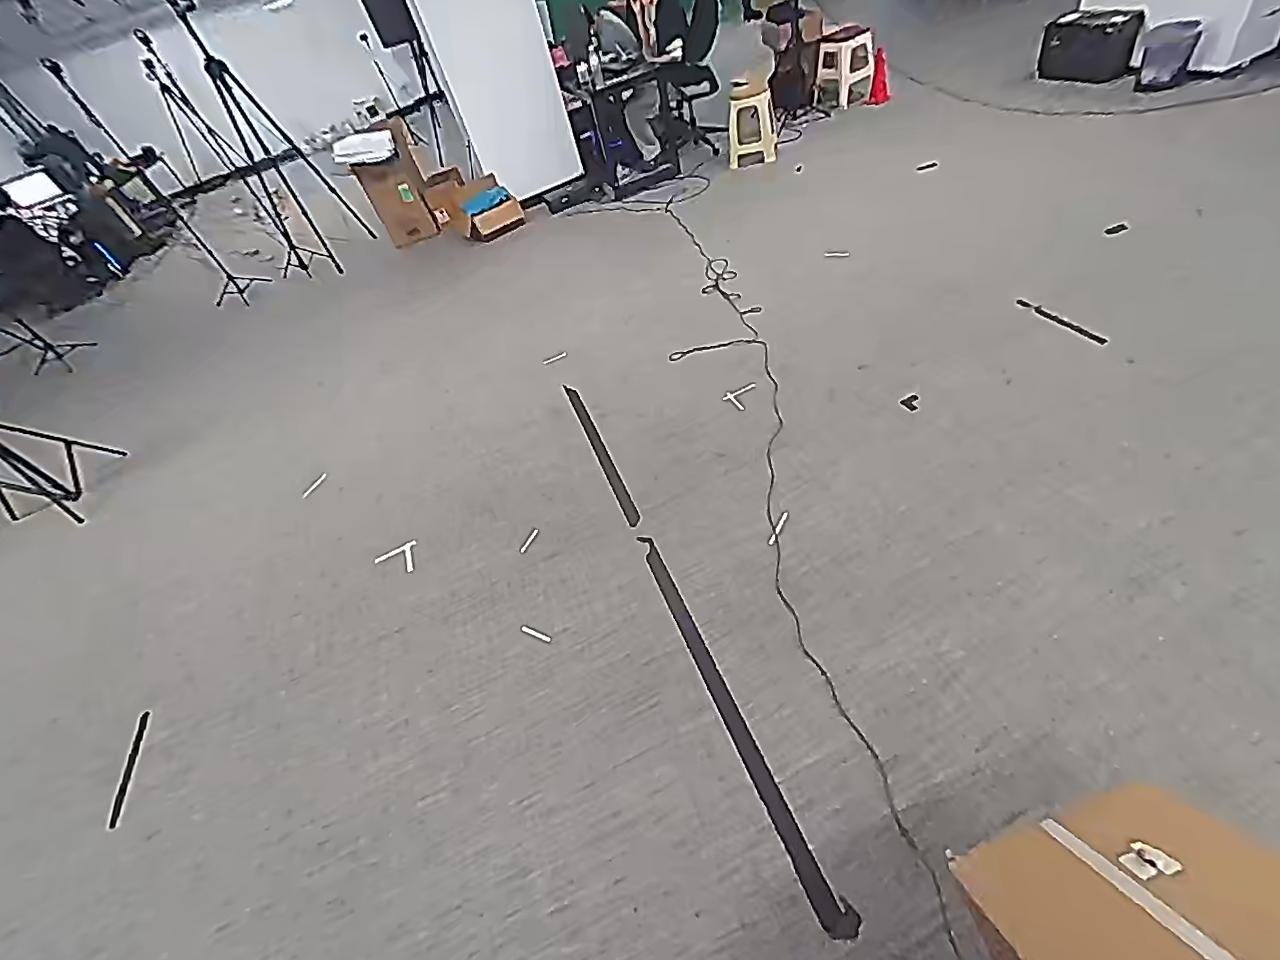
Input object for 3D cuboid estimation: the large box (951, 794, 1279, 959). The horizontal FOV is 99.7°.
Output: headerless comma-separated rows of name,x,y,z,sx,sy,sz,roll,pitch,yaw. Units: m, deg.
large box,0.646,0.635,0.583,0.320,0.408,0.320,-23,82,1
